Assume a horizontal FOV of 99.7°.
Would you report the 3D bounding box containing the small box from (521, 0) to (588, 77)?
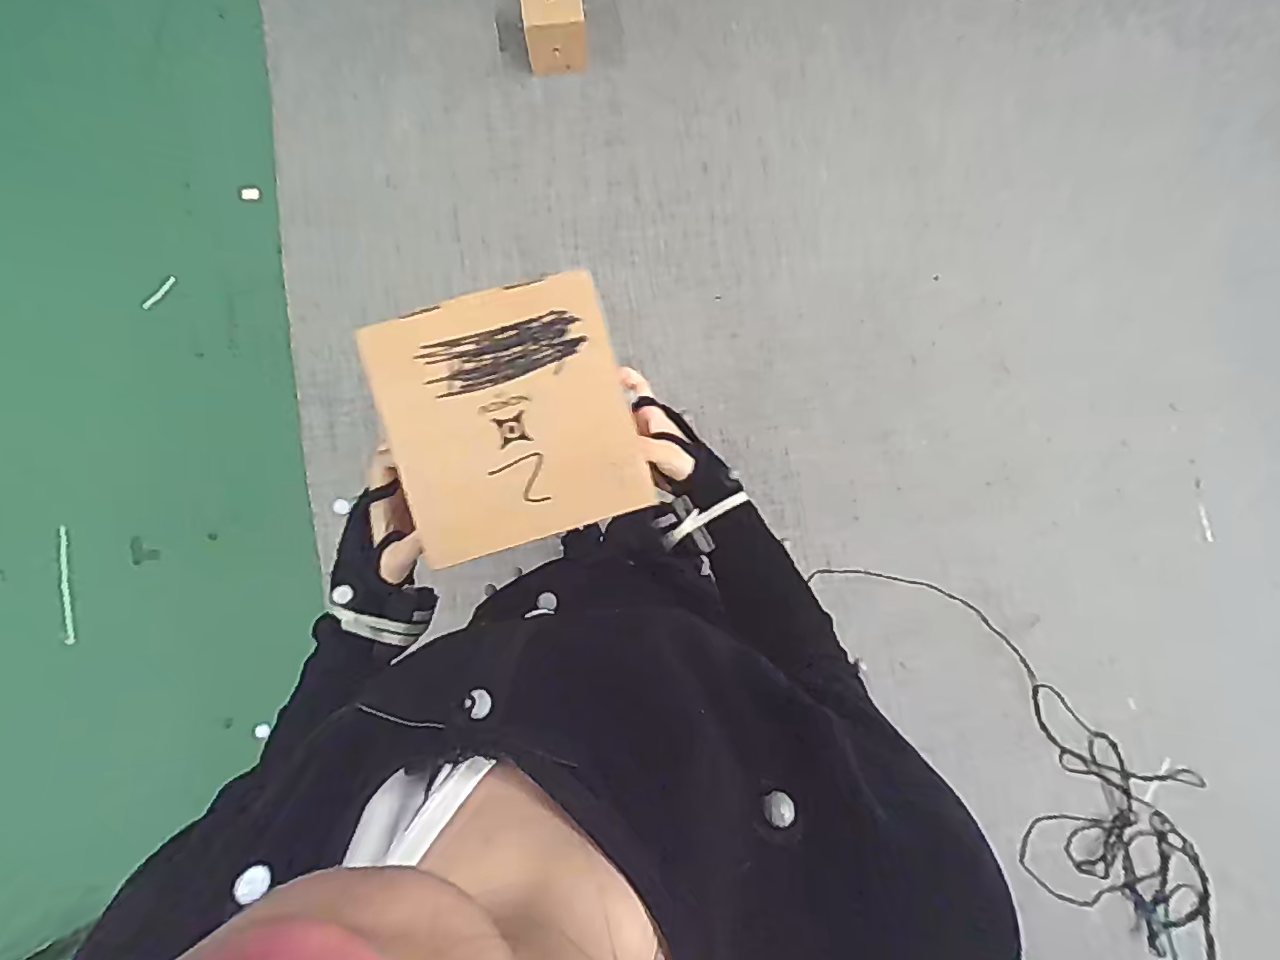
[{"bbox_3d":[-0.241,-1.287,1.536,0.168,0.176,0.179,-8,86,-3],"label":"small box"}]
